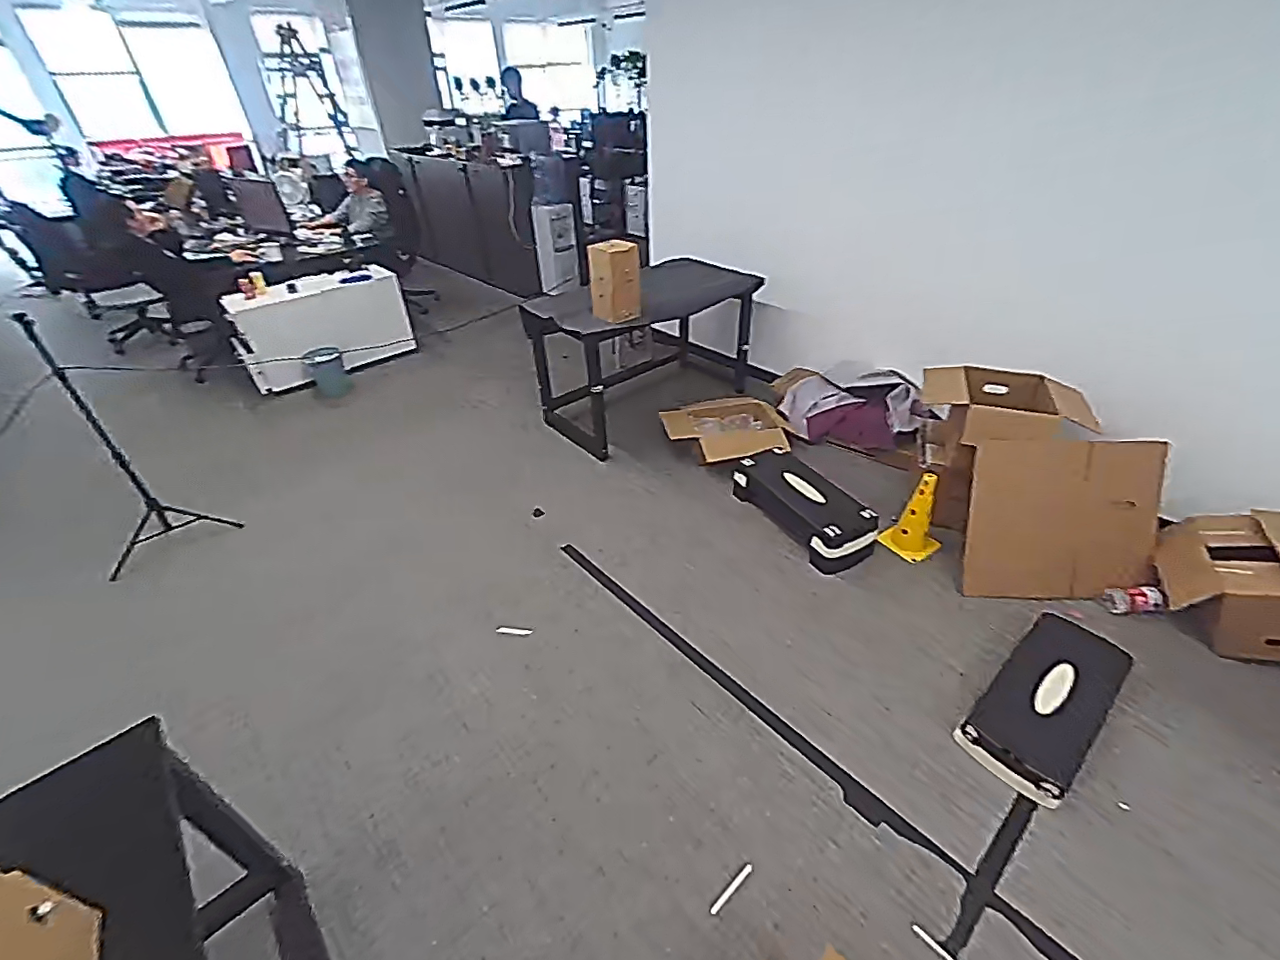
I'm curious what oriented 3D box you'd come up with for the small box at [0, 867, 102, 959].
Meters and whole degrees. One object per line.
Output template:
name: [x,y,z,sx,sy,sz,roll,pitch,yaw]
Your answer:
small box: [-0.785,0.619,0.634,0.168,0.176,0.179,-27,43,-27]
